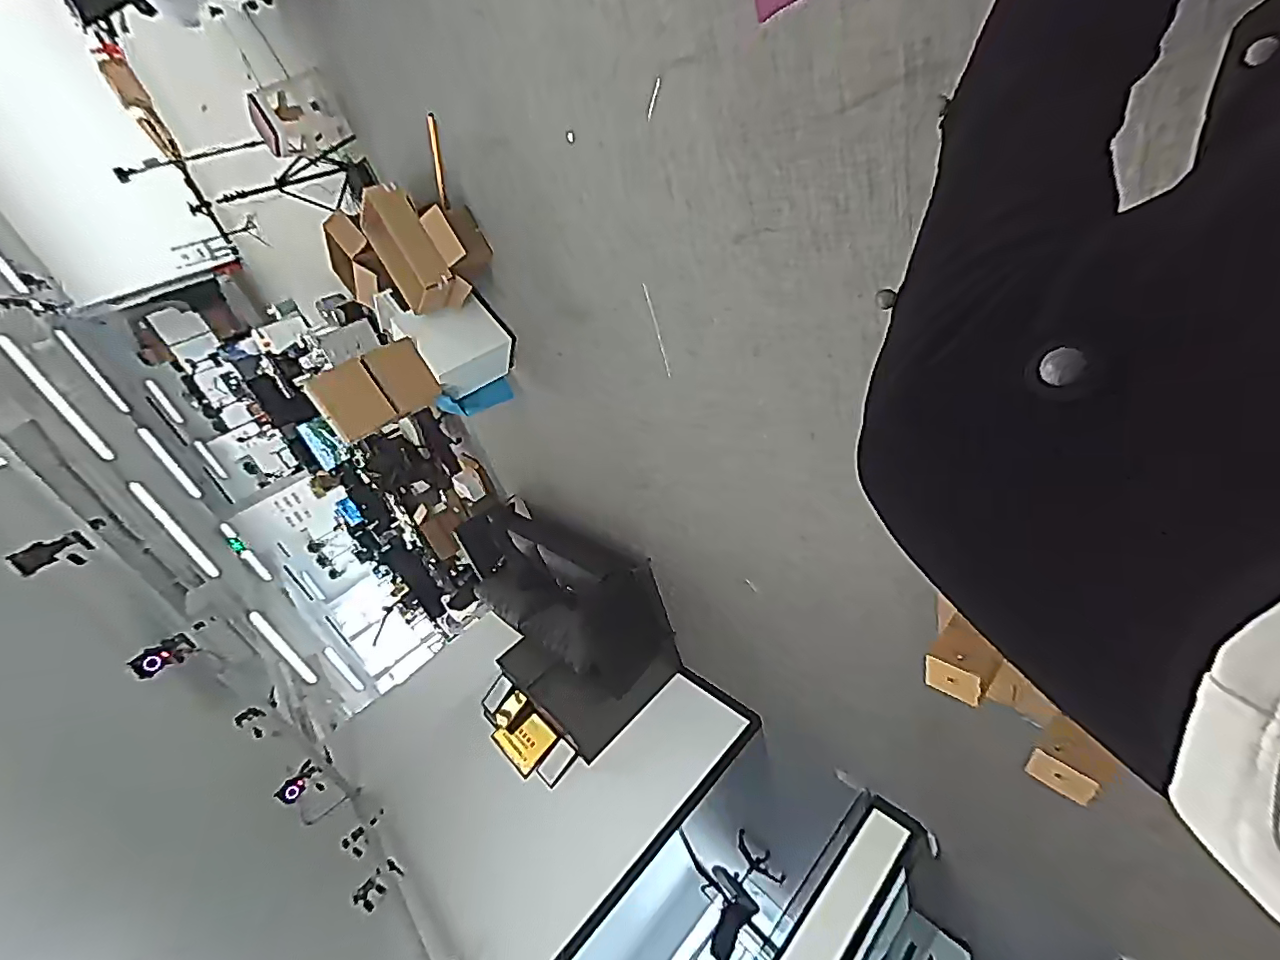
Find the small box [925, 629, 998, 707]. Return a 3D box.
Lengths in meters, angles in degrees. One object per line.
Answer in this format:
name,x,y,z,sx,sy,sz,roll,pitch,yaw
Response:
small box,1.140,0.657,1.920,0.179,0.176,0.168,18,134,45

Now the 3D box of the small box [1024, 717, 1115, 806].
small box,1.415,0.919,1.785,0.179,0.176,0.168,26,142,40

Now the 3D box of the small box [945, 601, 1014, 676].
small box,1.255,0.579,2.001,0.179,0.176,0.168,20,136,45

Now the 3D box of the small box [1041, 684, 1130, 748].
small box,1.536,0.838,1.866,0.179,0.176,0.168,27,142,40
